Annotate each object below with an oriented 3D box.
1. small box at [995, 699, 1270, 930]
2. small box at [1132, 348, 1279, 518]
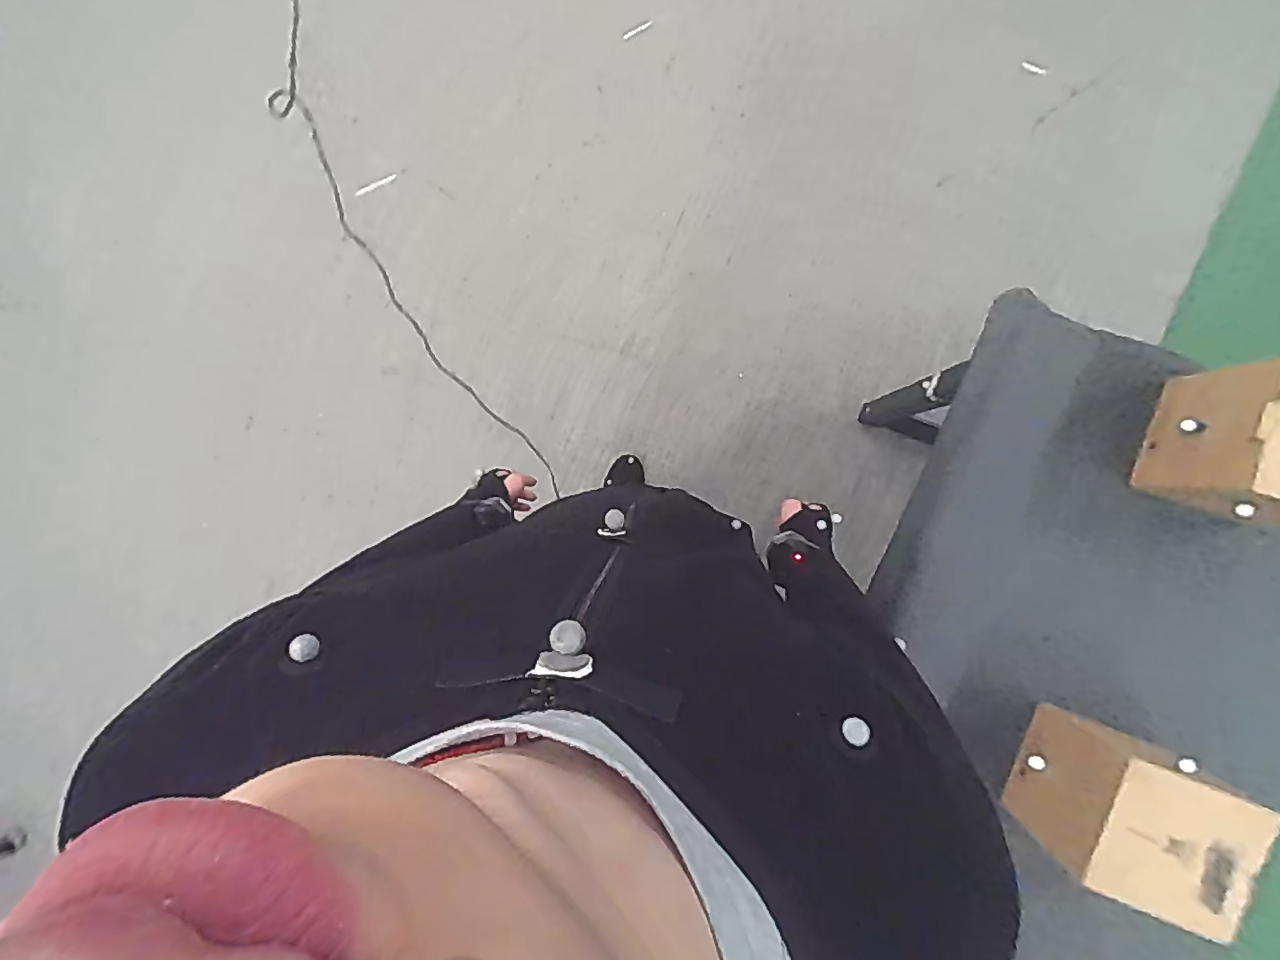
[{"bbox_3d":[0.624,0.418,0.711,0.179,0.176,0.168,21,92,5],"label":"small box"},{"bbox_3d":[0.801,-0.049,0.692,0.179,0.176,0.168,19,93,4],"label":"small box"}]
